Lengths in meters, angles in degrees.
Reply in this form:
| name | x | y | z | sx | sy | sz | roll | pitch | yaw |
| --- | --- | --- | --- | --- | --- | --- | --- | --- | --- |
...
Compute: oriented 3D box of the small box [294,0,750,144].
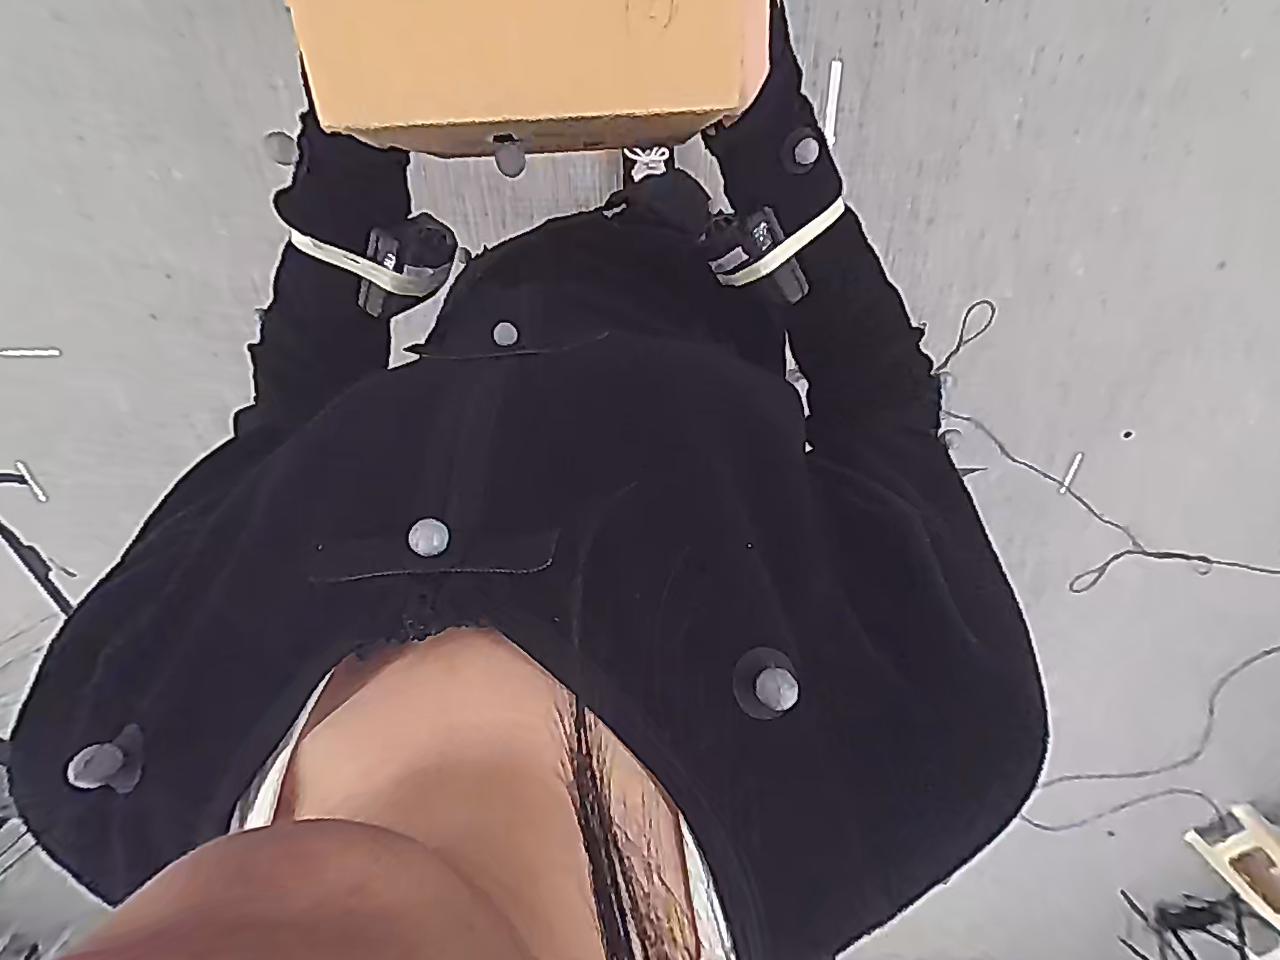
| name | x | y | z | sx | sy | sz | roll | pitch | yaw |
| --- | --- | --- | --- | --- | --- | --- | --- | --- | --- |
| small box | -0.046 | -0.257 | 0.239 | 0.168 | 0.176 | 0.179 | -4 | 117 | -1 |
